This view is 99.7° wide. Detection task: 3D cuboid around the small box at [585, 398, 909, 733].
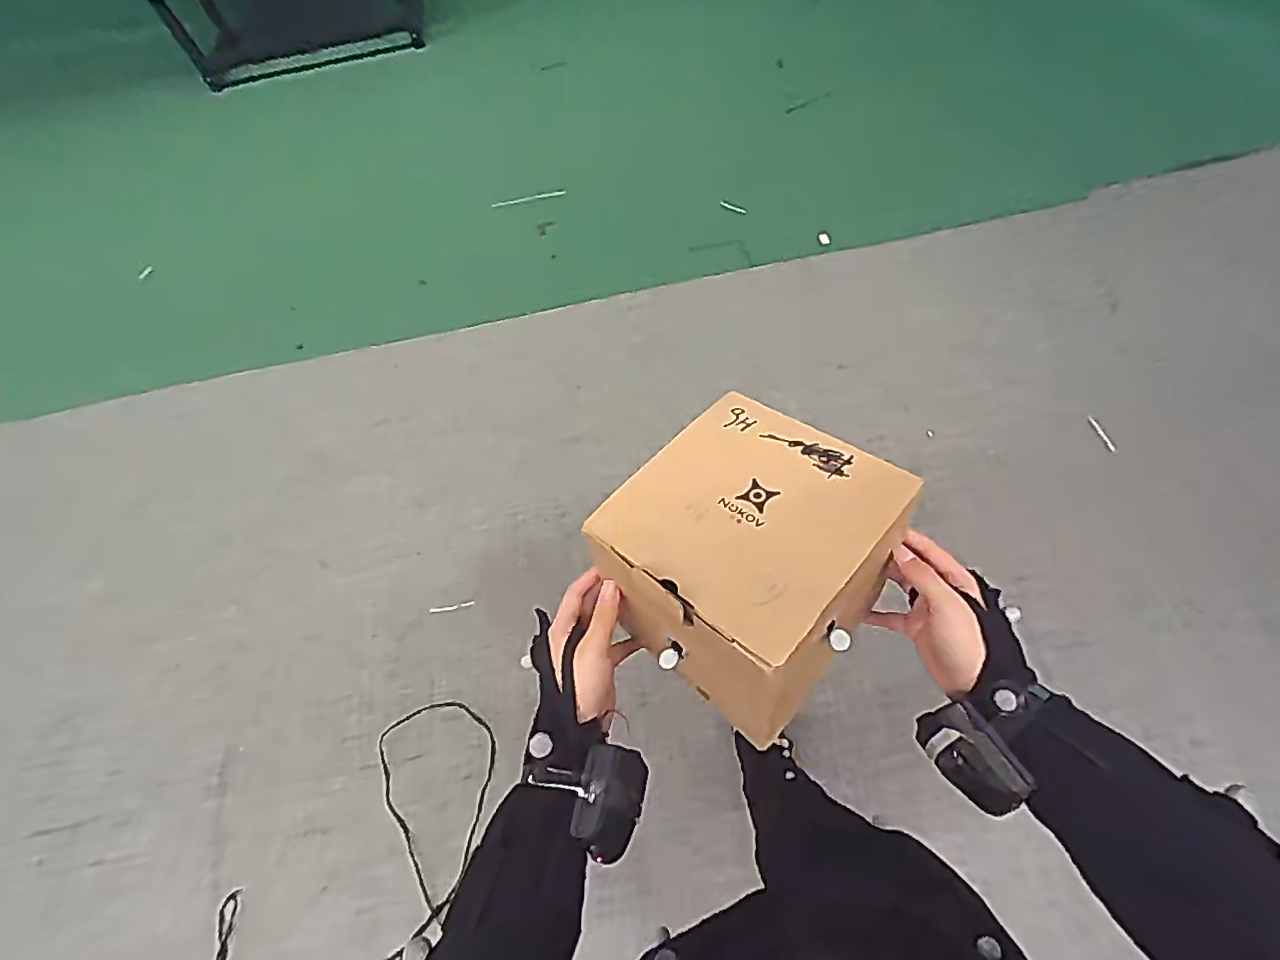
[{"bbox_3d":[0.086,0.071,0.445,0.168,0.176,0.179,33,63,32],"label":"small box"}]
